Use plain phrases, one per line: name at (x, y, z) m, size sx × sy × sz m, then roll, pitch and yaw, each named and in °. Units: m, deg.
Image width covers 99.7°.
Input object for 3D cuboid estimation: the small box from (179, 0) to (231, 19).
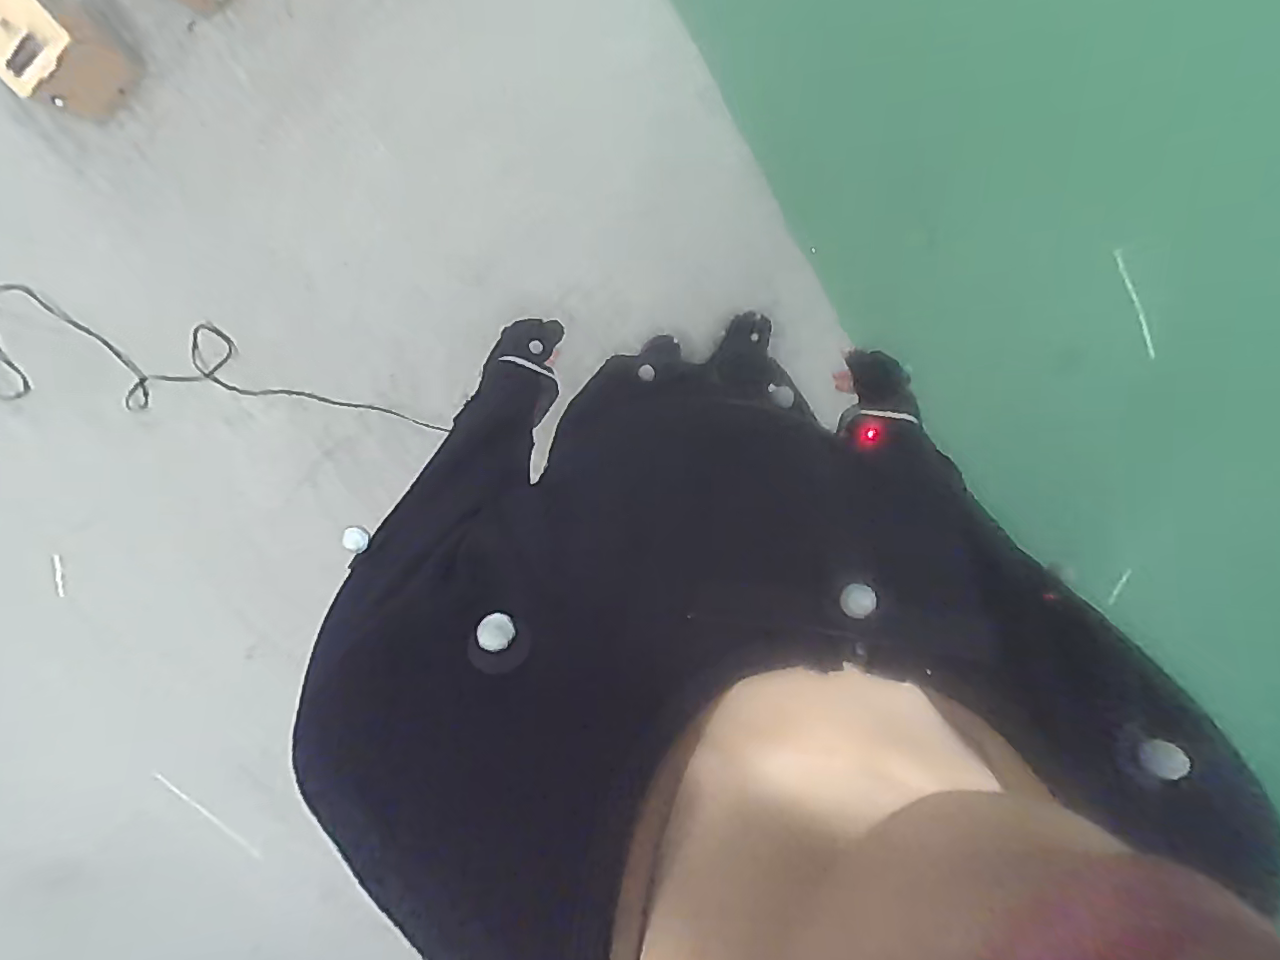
small box at (-0.930, -1.087, 1.072) m, size 0.168 × 0.176 × 0.179 m, roll -35°, pitch 106°, yaw 10°
